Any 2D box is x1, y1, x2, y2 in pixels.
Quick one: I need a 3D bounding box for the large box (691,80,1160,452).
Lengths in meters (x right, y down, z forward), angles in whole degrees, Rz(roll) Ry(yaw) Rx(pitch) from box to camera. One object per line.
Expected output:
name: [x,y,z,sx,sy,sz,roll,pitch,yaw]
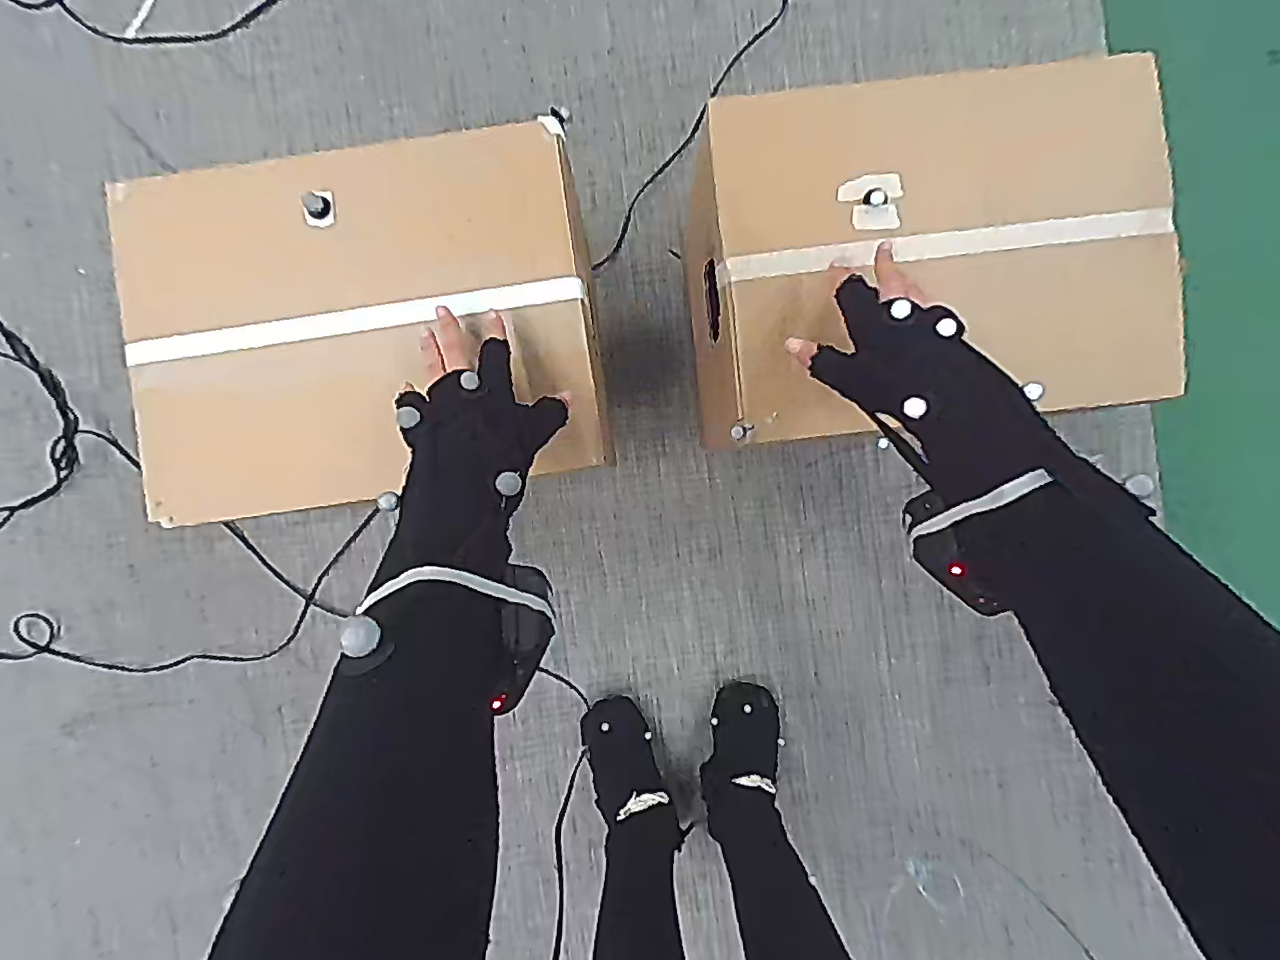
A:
large box: [0.286,-0.207,0.660,0.408,0.320,0.320,-6,91,0]
